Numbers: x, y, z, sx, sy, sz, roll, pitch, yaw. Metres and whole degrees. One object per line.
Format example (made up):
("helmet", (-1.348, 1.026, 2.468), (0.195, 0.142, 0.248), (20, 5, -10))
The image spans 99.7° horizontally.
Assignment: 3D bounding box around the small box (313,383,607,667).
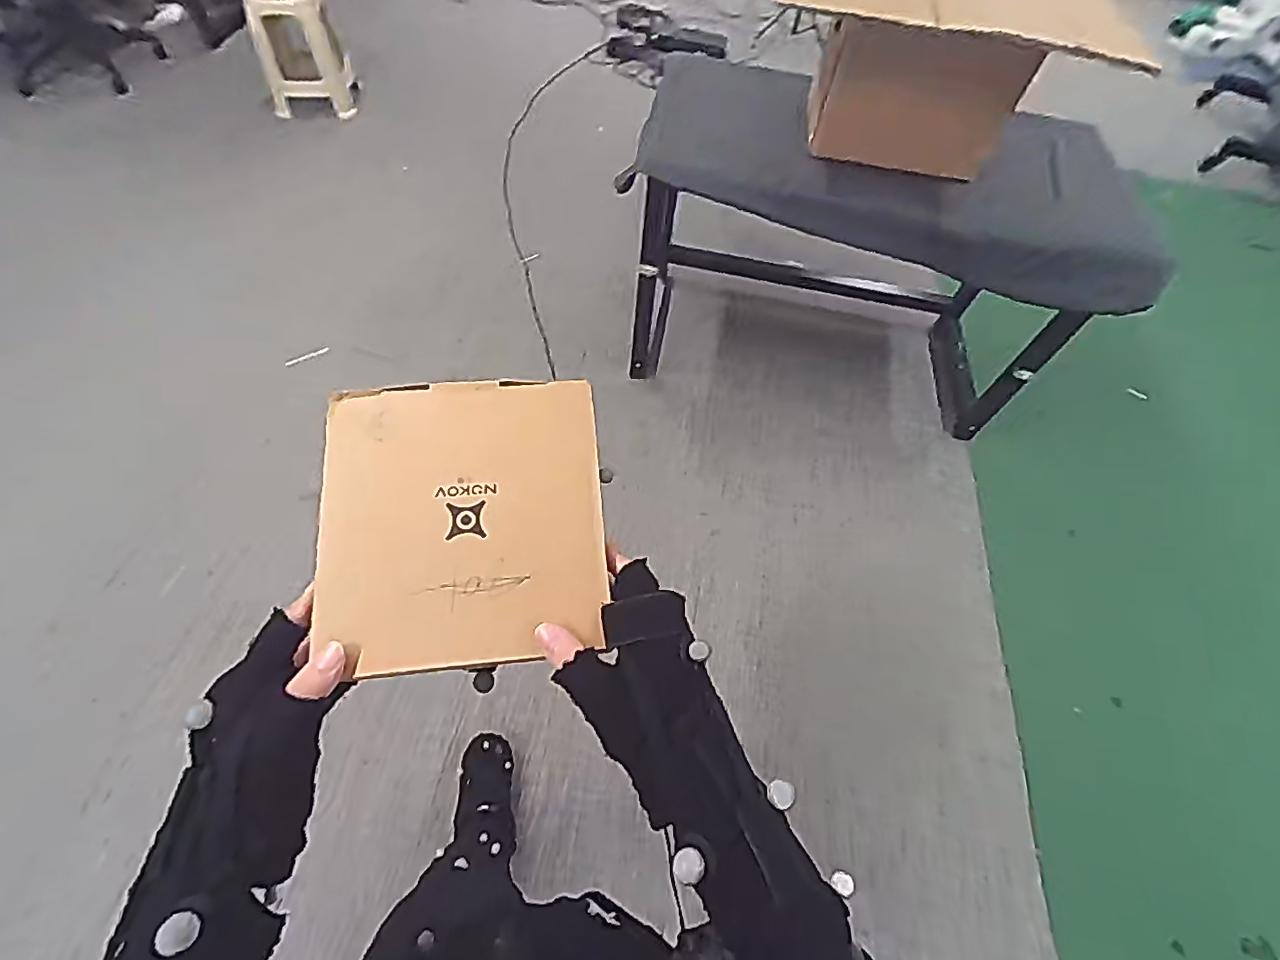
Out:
("small box", (-0.116, 0.044, 0.410), (0.168, 0.176, 0.179), (-3, 72, -7))
